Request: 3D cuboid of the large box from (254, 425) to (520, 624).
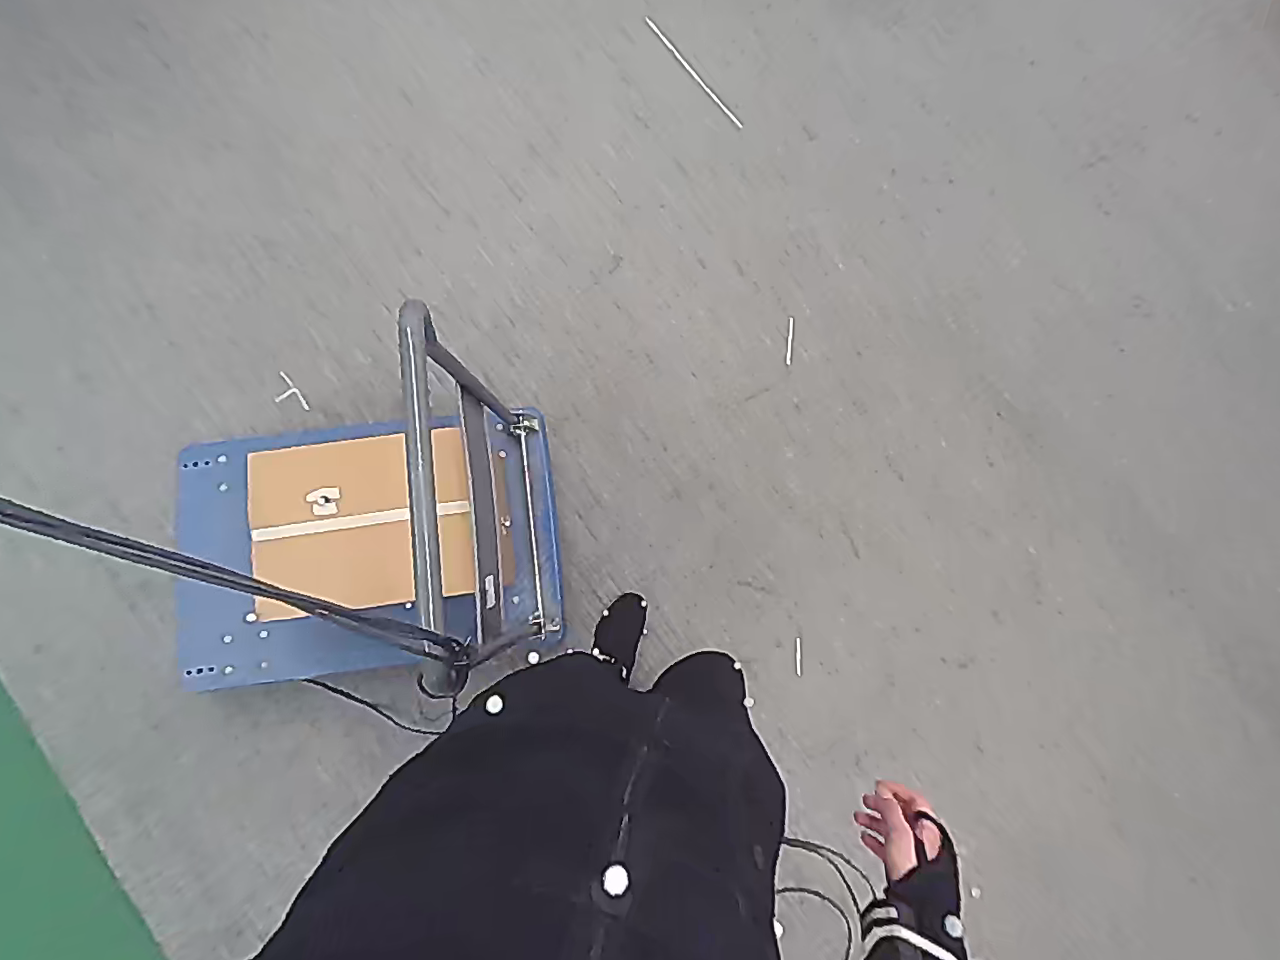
[{"bbox_3d":[-0.497,0.094,1.137,0.408,0.320,0.320,-8,82,-2],"label":"large box"}]
